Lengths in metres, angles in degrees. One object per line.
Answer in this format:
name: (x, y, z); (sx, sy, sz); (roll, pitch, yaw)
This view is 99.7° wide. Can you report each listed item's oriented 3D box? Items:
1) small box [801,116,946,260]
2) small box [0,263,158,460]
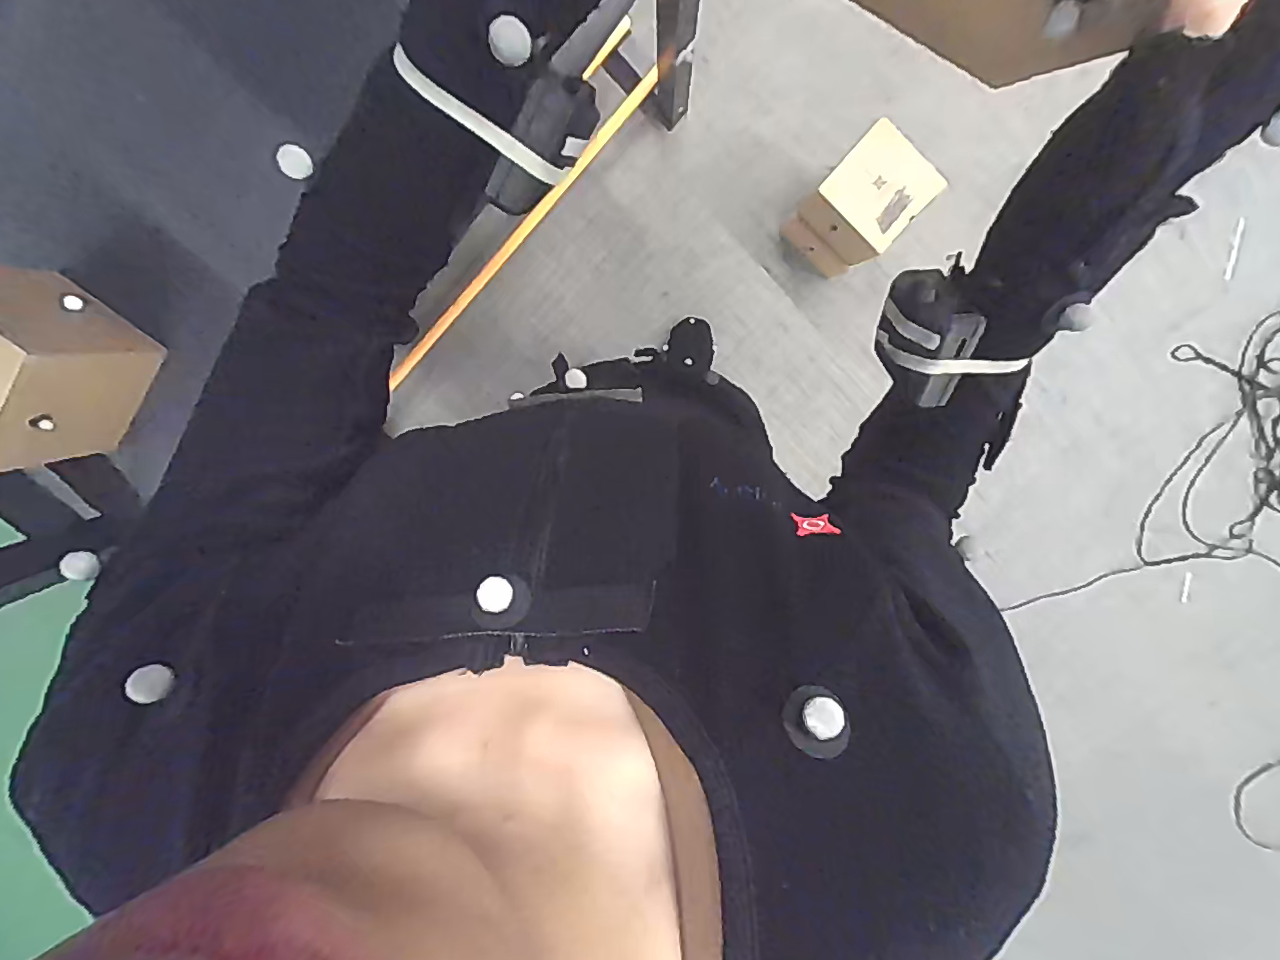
small box: (0.449, -0.560, 1.070); (0.179, 0.176, 0.168); (42, 103, -7)
small box: (-0.750, -0.141, 0.651); (0.168, 0.176, 0.179); (38, 103, -8)
